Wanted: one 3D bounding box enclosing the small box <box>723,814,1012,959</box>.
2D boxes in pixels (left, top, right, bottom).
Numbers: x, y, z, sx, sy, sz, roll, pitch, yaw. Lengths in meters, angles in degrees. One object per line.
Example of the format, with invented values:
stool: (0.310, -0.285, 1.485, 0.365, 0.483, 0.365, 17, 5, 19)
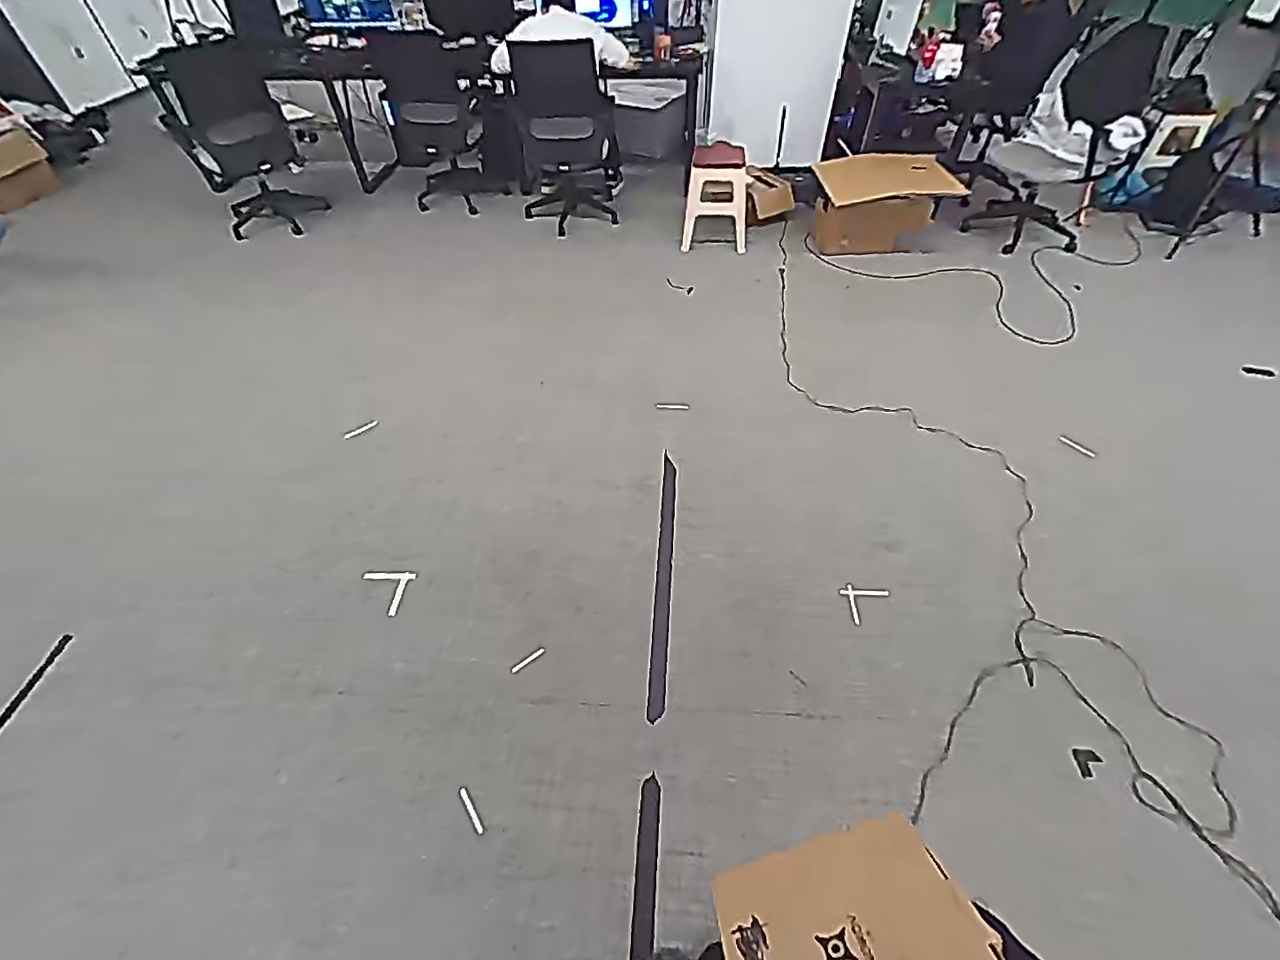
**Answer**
small box: (0.180, 0.403, 0.403, 0.179, 0.176, 0.168, -19, 11, 1)
